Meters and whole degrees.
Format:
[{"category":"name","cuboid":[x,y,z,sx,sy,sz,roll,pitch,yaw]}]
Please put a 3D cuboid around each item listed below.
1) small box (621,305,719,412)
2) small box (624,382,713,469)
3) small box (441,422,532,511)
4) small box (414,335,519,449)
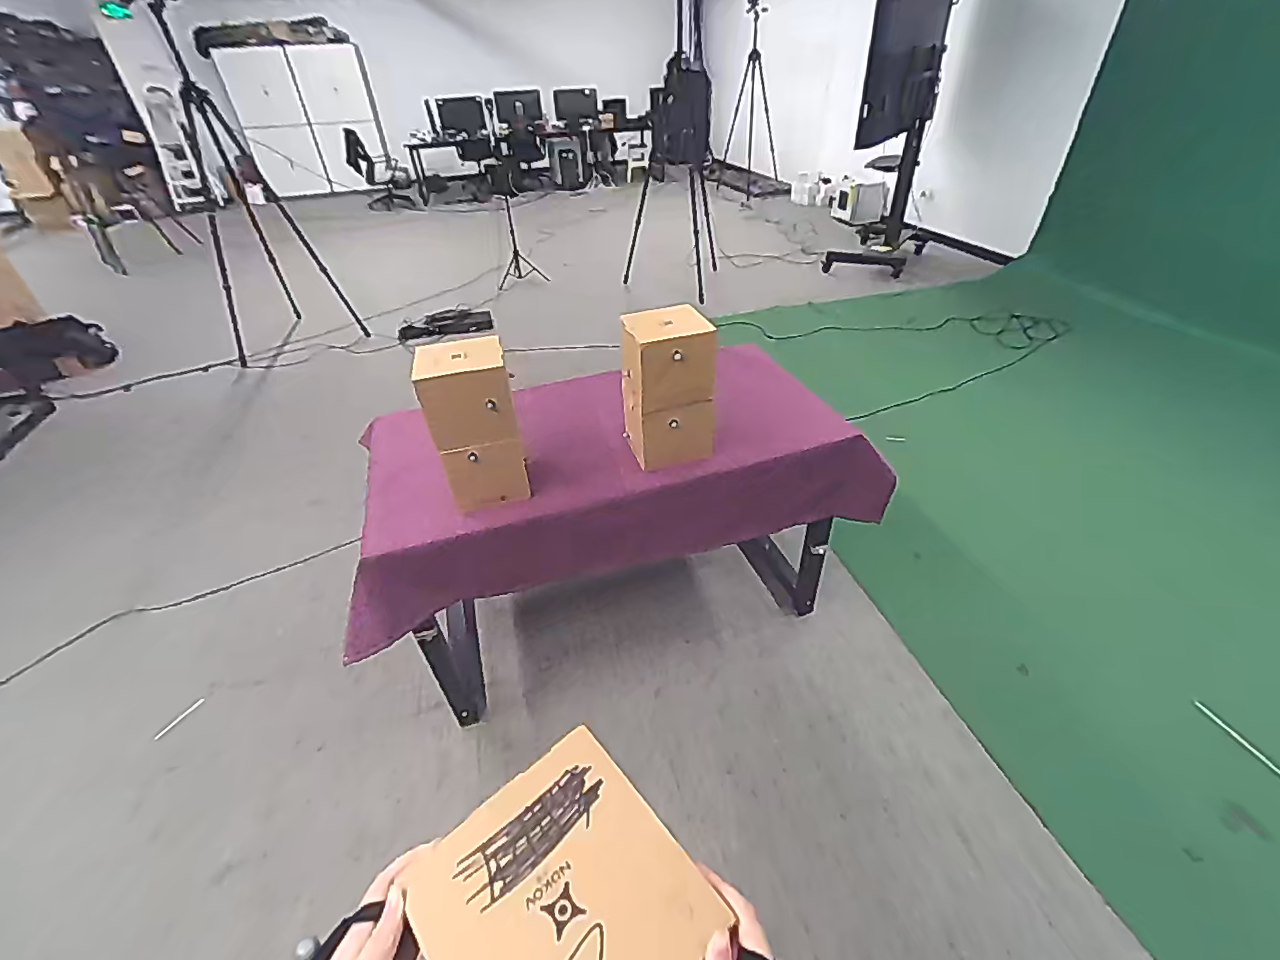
[{"category":"small box","cuboid":[0.065,-0.275,1.223,0.179,0.176,0.168,-14,40,-11]},{"category":"small box","cuboid":[0.069,-0.146,1.322,0.179,0.176,0.168,-12,39,-12]},{"category":"small box","cuboid":[-0.349,-0.056,1.239,0.168,0.176,0.179,-12,38,-10]},{"category":"small box","cuboid":[-0.356,-0.185,1.139,0.179,0.176,0.168,-11,38,-9]}]
